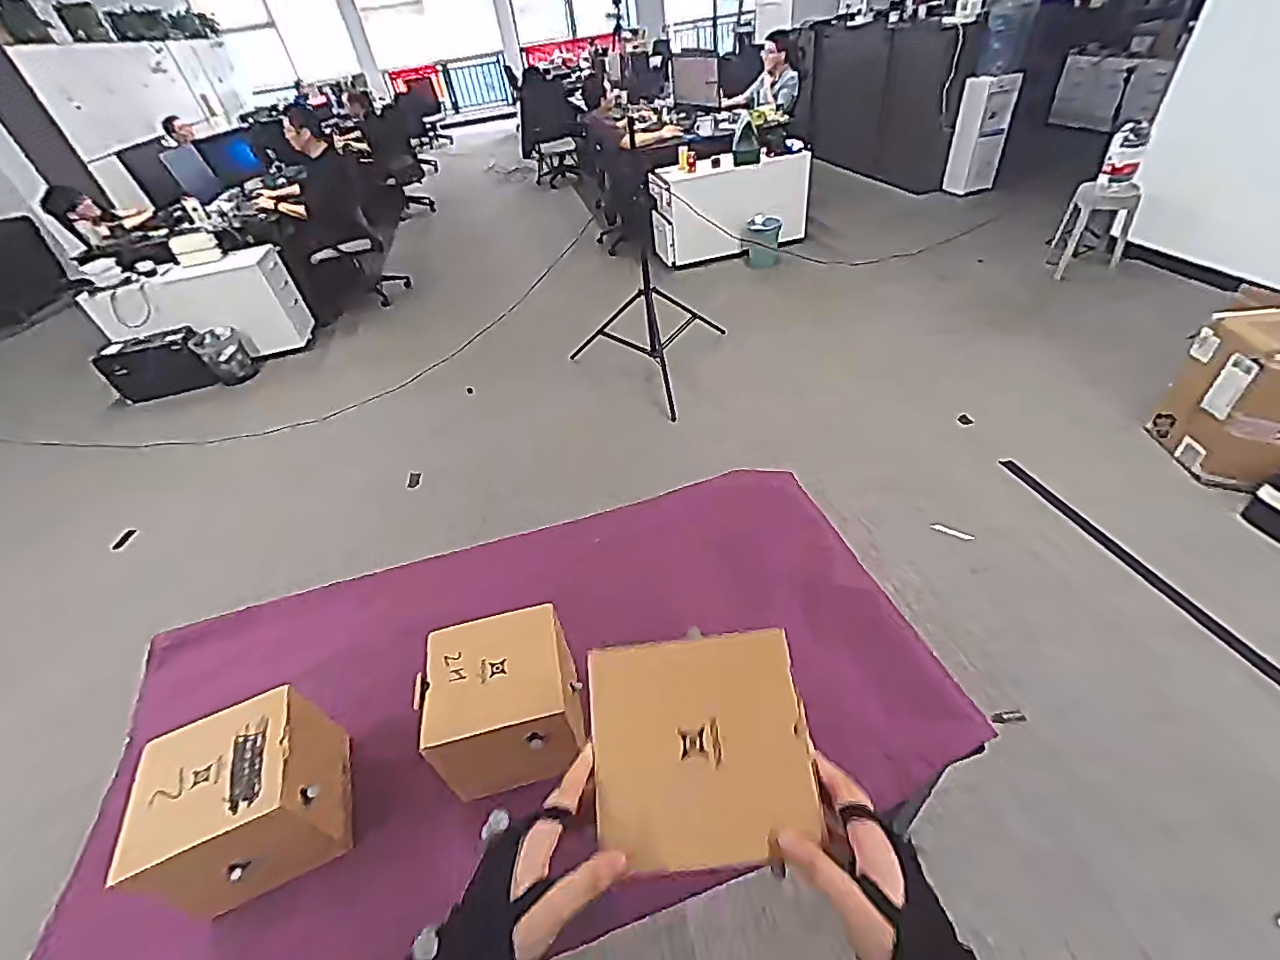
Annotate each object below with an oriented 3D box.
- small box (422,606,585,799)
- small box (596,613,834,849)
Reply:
[{"bbox_3d":[-0.178,0.306,0.746,0.179,0.176,0.168,-14,40,-5],"label":"small box"},{"bbox_3d":[0.061,0.237,0.511,0.179,0.176,0.168,-7,61,2],"label":"small box"}]
